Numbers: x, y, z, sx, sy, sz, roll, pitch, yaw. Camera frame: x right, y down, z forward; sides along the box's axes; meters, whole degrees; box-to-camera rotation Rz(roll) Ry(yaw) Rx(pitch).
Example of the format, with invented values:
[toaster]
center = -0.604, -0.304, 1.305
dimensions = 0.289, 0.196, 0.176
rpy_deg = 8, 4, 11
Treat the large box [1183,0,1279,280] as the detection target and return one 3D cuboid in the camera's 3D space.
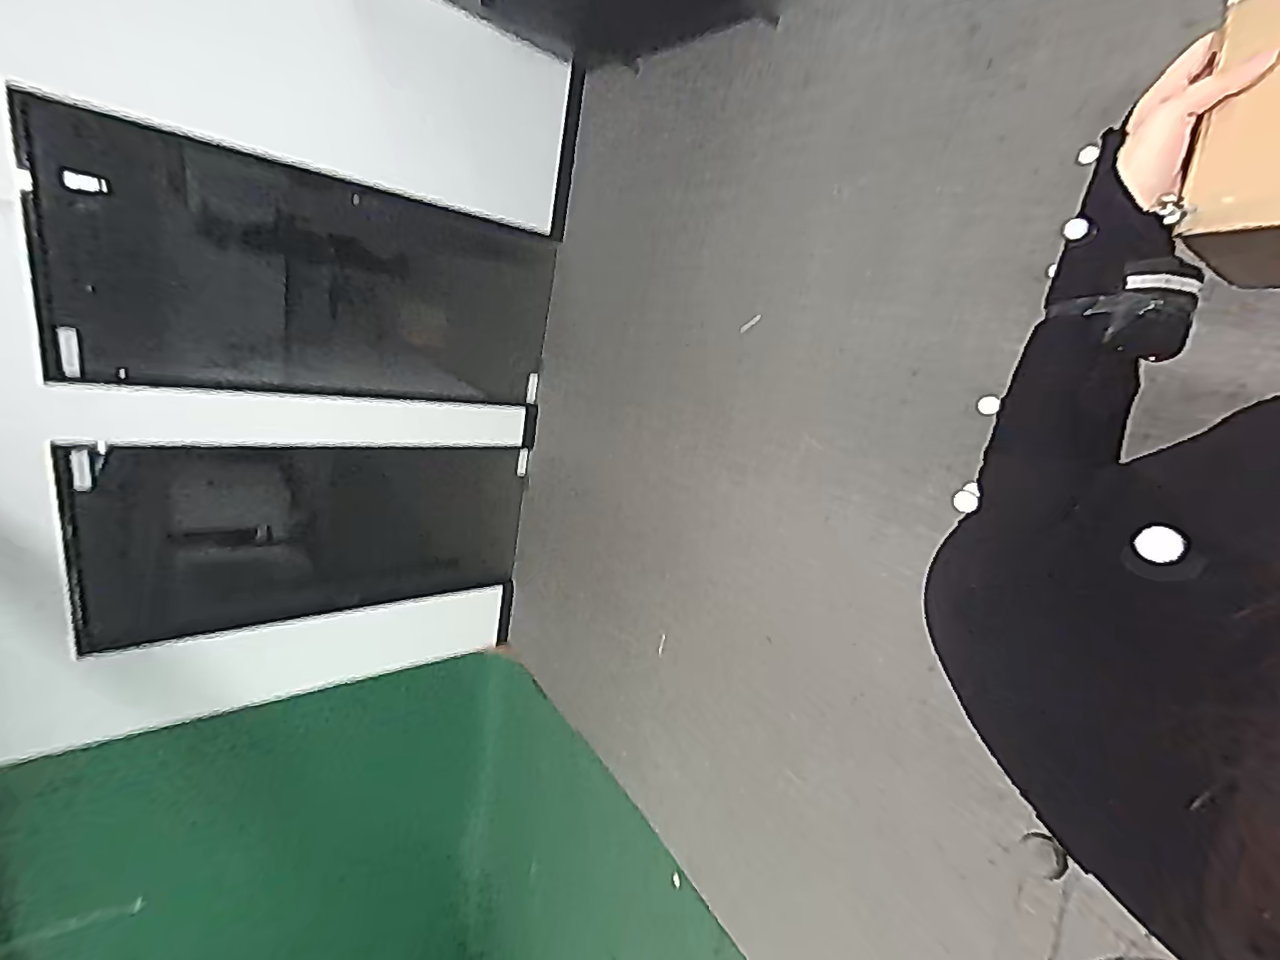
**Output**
[large box]
center = 0.653, -0.311, 0.307
dimensions = 0.408, 0.320, 0.320
rpy_deg = 18, 109, 53
